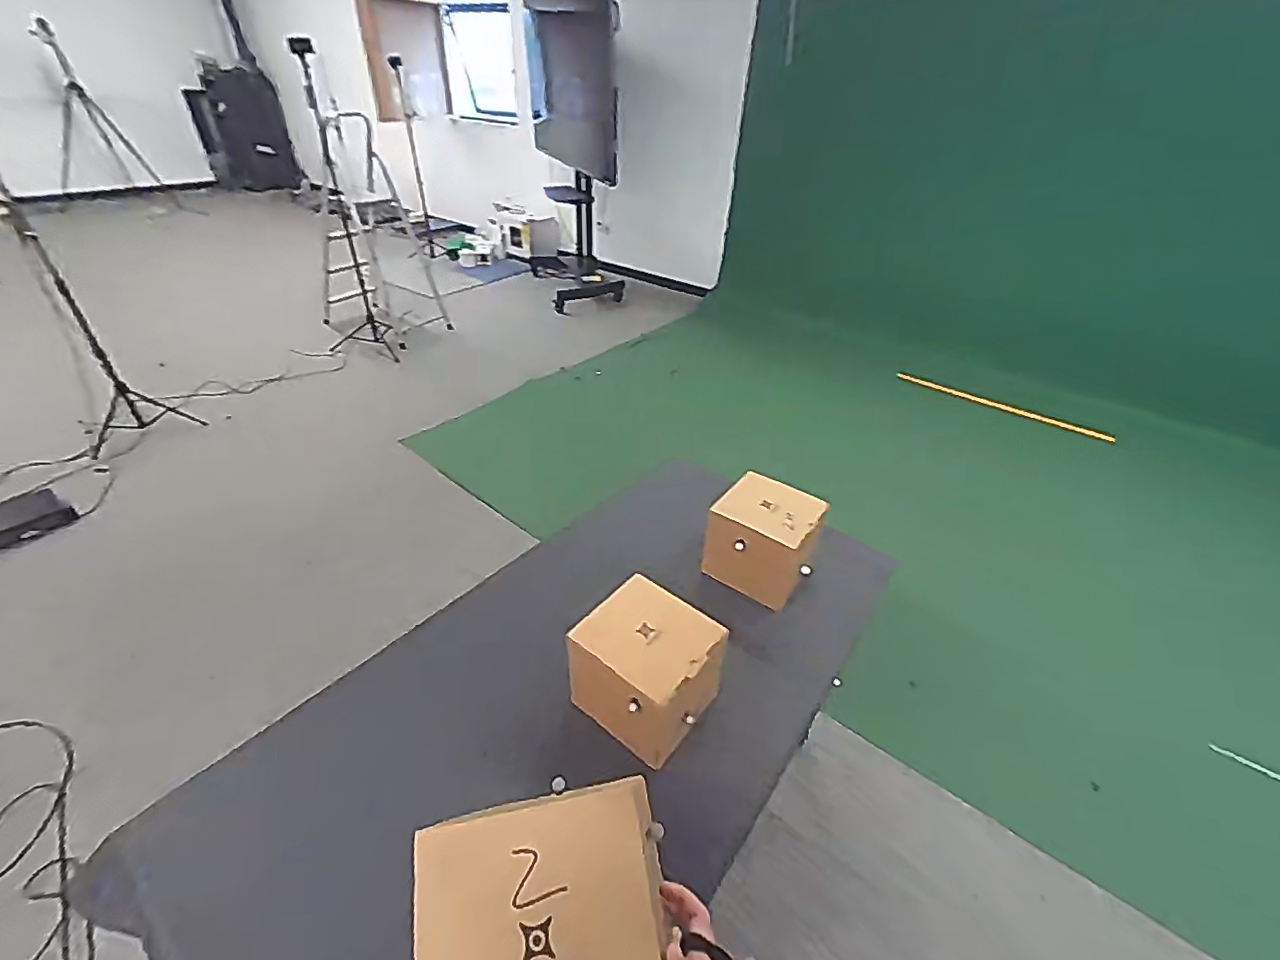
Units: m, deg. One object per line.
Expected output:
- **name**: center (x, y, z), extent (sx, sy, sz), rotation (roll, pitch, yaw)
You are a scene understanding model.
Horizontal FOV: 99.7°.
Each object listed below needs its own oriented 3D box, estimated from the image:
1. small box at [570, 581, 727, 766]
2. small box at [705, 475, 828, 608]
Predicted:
- **small box**: center (0.011, 0.296, 0.835), extent (0.179, 0.176, 0.168), rotation (26, 42, 30)
- **small box**: center (0.244, 0.122, 1.076), extent (0.179, 0.176, 0.168), rotation (25, 43, 29)
